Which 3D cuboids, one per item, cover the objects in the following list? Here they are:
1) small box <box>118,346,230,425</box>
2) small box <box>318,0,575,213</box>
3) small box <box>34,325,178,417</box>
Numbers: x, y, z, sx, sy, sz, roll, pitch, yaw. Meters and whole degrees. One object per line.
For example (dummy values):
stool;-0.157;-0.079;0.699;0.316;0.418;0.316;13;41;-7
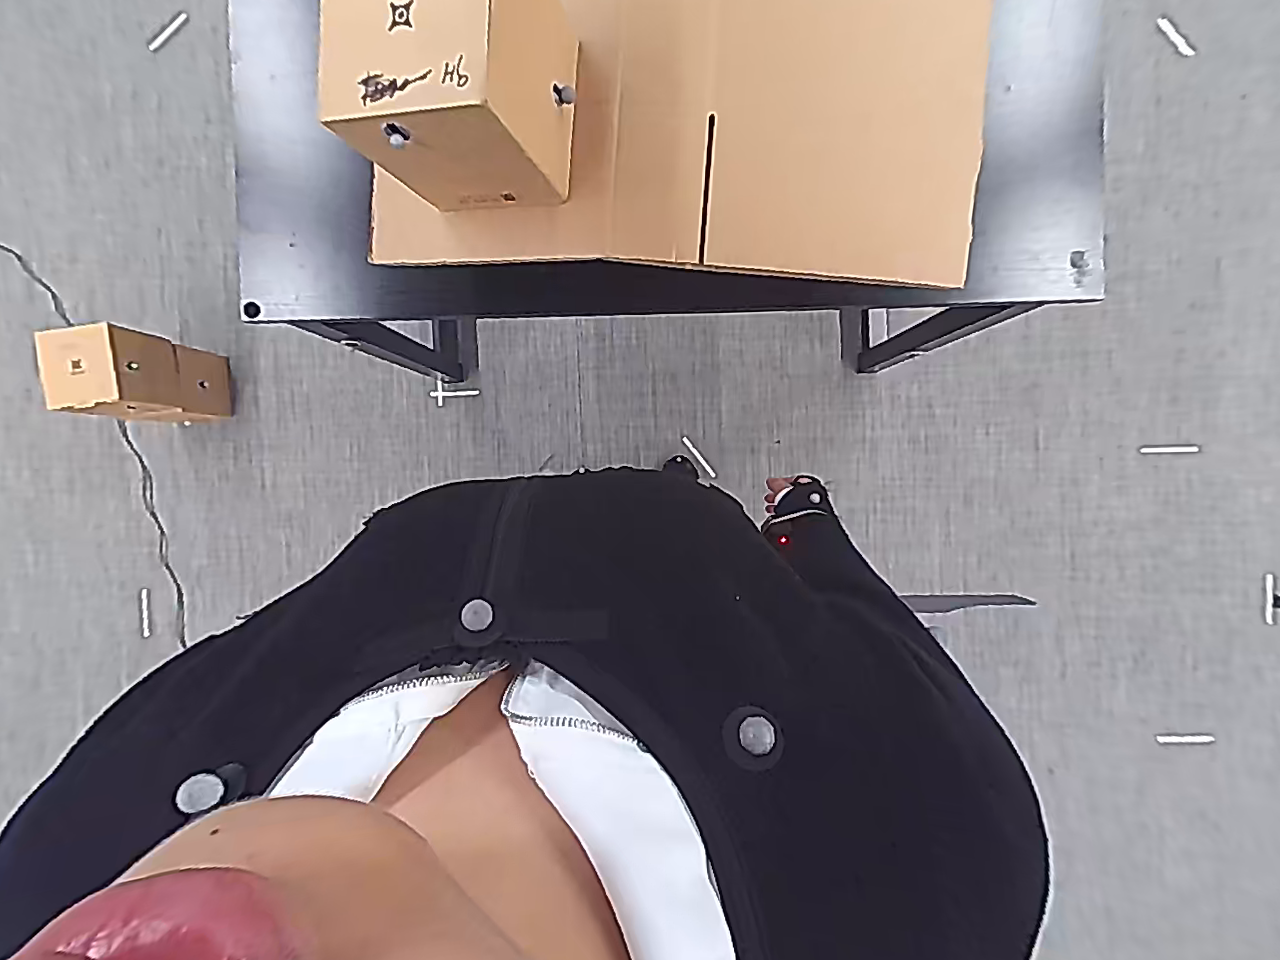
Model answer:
small box;-1.228;-0.244;1.425;0.168;0.176;0.179;-5;92;1
small box;-0.170;-0.386;0.521;0.168;0.176;0.179;5;91;15
small box;-1.232;-0.245;1.262;0.168;0.176;0.179;-8;91;0
